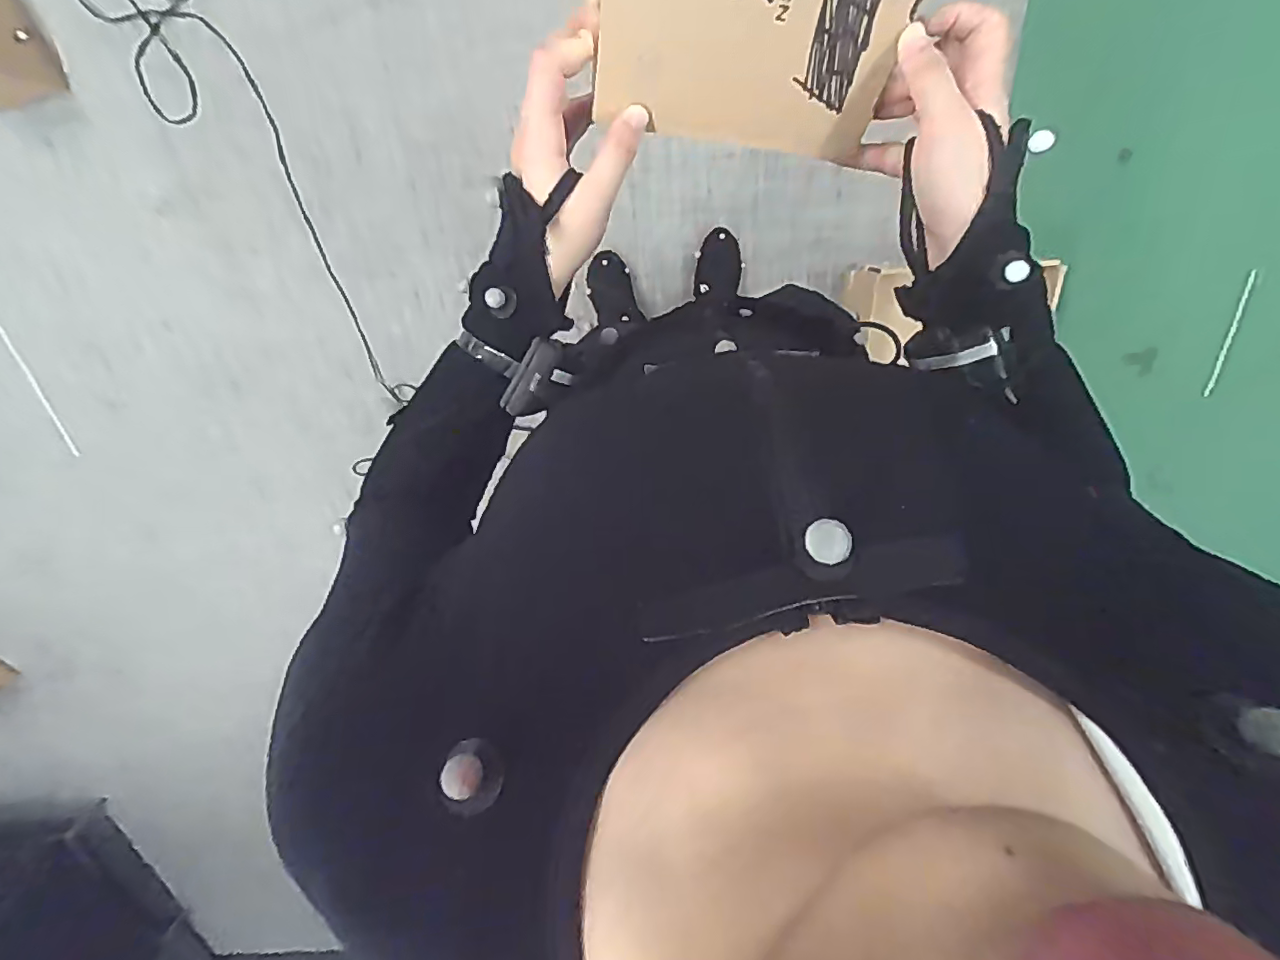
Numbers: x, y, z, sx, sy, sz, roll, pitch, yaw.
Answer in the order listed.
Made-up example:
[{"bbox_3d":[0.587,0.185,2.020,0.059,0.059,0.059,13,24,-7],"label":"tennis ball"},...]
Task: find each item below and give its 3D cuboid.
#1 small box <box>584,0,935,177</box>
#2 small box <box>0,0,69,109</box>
[{"bbox_3d":[0.063,-0.315,0.315,0.179,0.176,0.168,5,149,-8],"label":"small box"},{"bbox_3d":[-1.347,-0.878,1.093,0.179,0.176,0.168,-12,115,7],"label":"small box"}]
